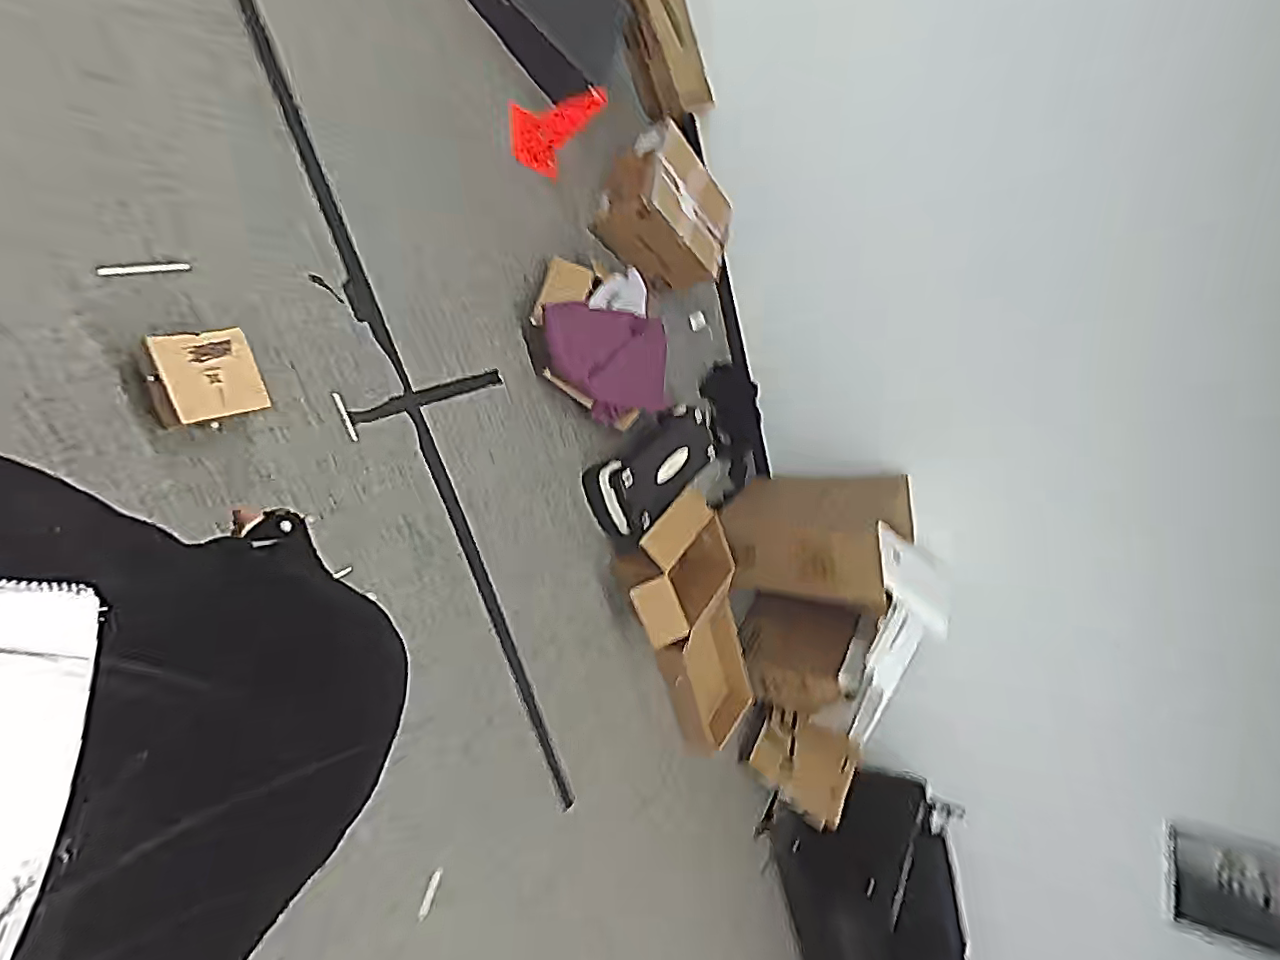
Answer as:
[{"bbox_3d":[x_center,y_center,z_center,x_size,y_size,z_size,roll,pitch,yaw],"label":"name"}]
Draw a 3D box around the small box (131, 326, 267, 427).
[{"bbox_3d":[-0.949,-0.222,1.163,0.168,0.176,0.179,-27,110,-47],"label":"small box"}]
